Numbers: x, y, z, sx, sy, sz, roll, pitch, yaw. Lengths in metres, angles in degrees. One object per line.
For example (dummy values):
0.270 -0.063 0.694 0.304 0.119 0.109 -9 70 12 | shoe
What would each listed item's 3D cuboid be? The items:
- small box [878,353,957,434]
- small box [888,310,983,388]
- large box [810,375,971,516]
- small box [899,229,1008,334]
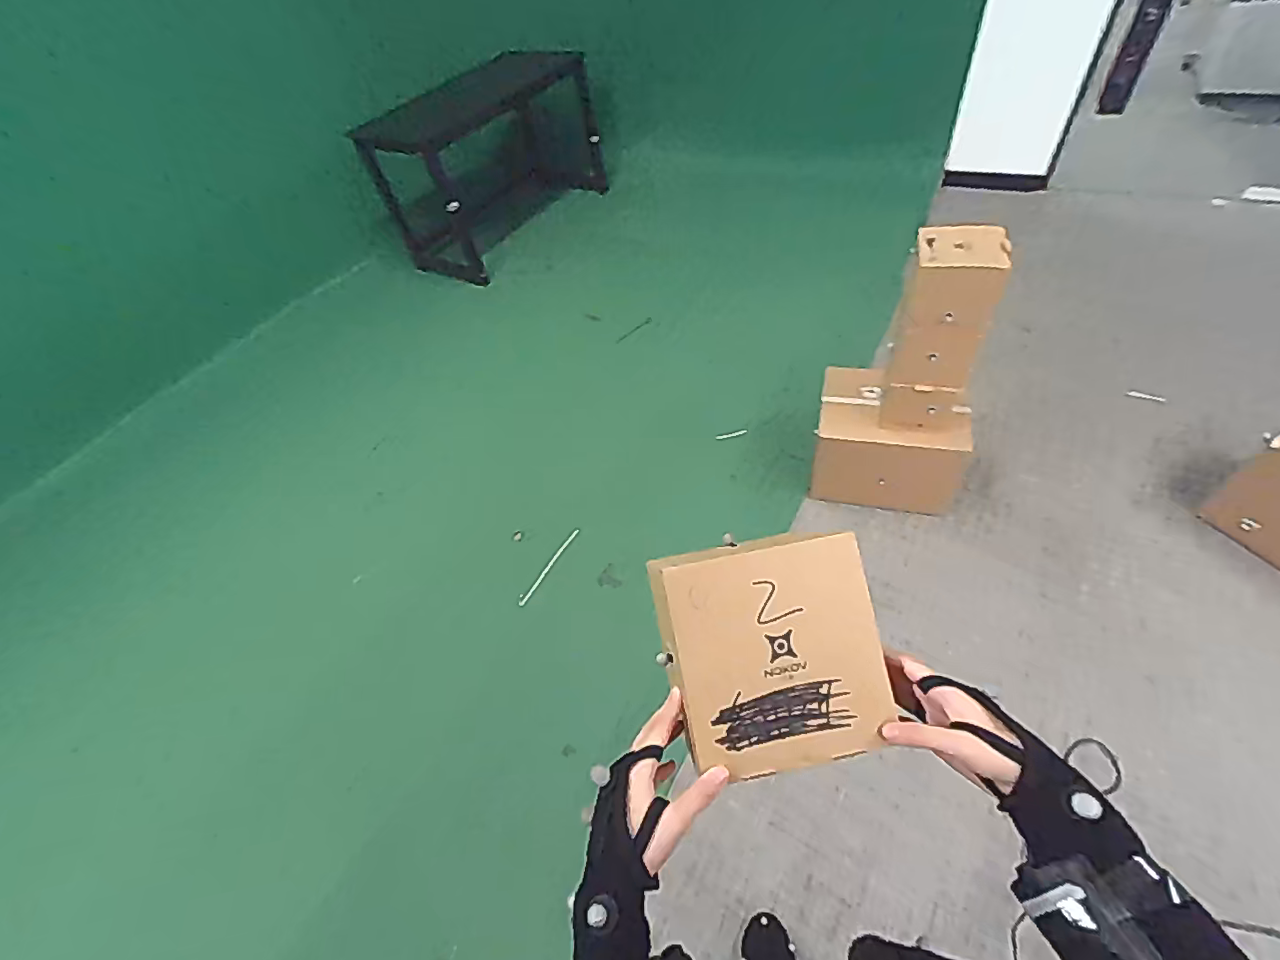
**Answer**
0.765 -0.247 1.502 0.168 0.176 0.179 8 53 17 | small box
0.744 -0.352 1.378 0.179 0.176 0.168 7 53 17 | small box
0.767 -0.109 1.708 0.408 0.320 0.320 6 51 18 | large box
0.717 -0.457 1.254 0.179 0.176 0.168 8 53 16 | small box
